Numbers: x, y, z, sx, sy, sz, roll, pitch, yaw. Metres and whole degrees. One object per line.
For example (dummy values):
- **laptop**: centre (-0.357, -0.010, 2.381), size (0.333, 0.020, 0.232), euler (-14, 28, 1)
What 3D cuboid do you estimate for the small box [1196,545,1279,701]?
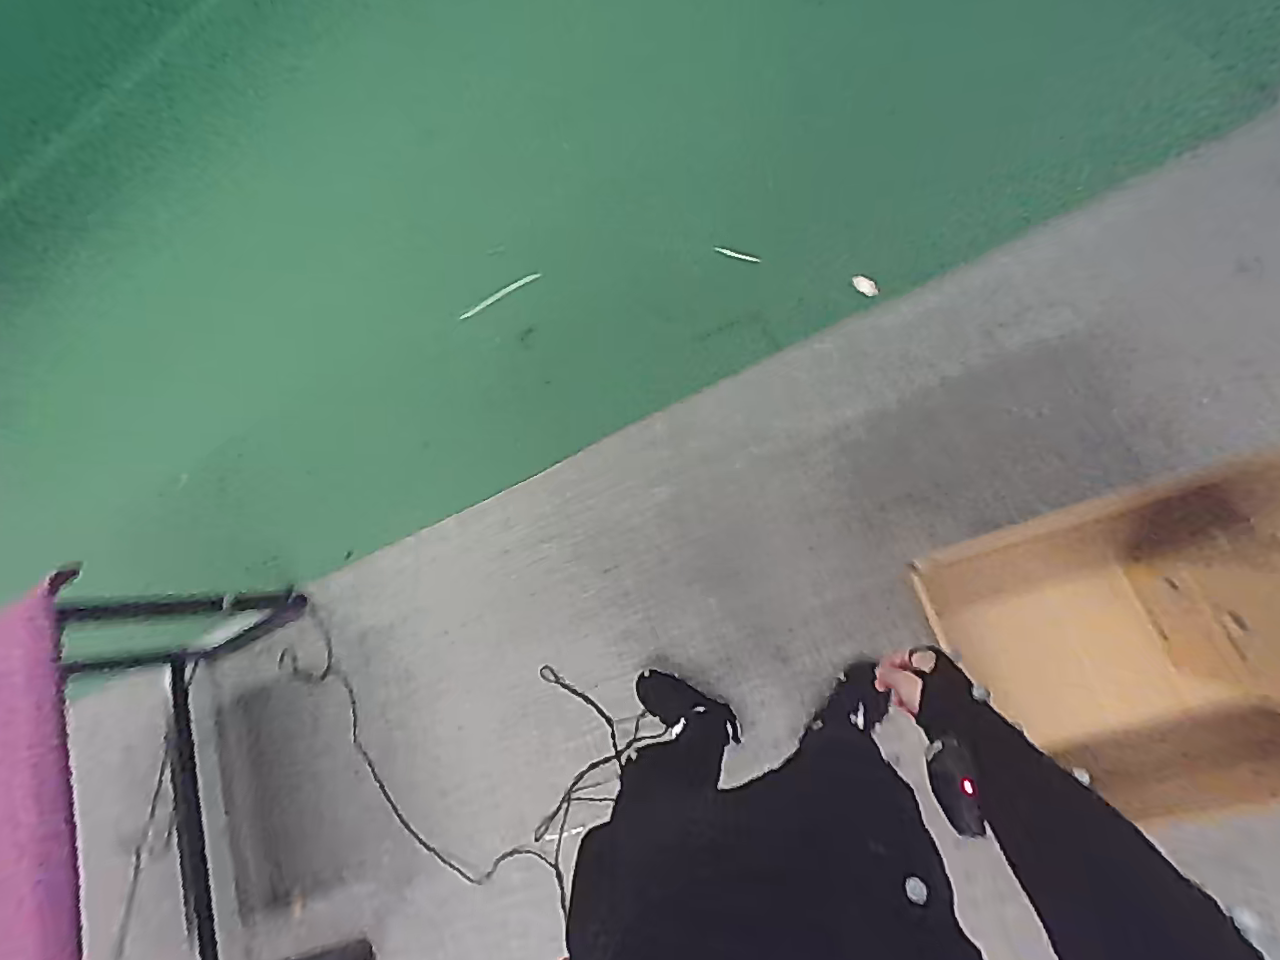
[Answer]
- **small box**: centre (0.760, 0.143, 0.560), size (0.179, 0.176, 0.168), euler (-23, 74, 18)
